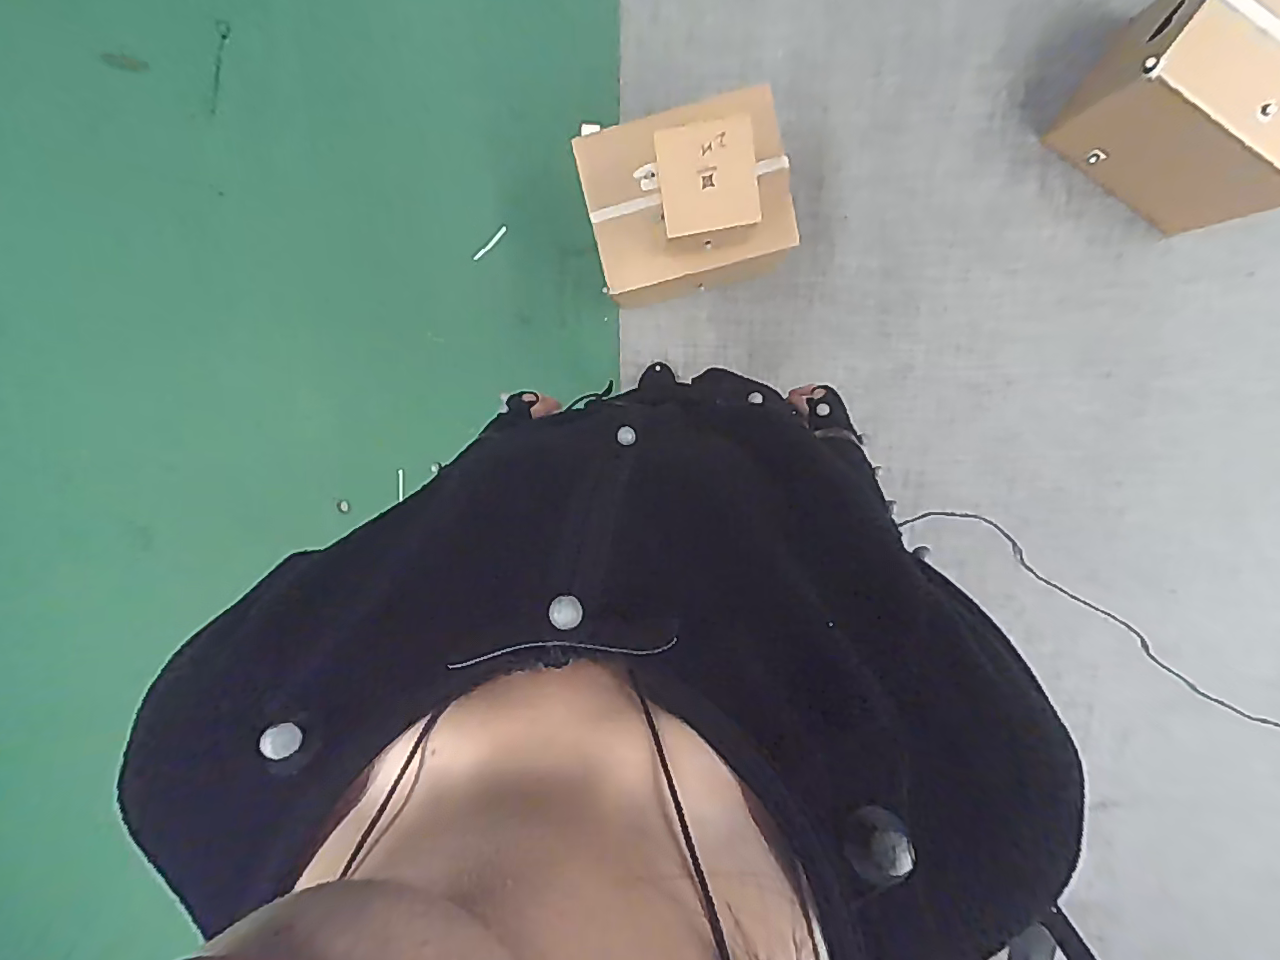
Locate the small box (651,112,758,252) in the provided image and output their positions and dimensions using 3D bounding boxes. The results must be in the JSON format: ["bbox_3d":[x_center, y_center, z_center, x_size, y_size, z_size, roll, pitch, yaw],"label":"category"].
[{"bbox_3d":[0.115,-0.527,0.987,0.168,0.176,0.179,-8,101,4],"label":"small box"}]

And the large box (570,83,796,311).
[{"bbox_3d":[0.099,-0.599,1.226,0.408,0.320,0.320,-13,99,7],"label":"large box"}]
